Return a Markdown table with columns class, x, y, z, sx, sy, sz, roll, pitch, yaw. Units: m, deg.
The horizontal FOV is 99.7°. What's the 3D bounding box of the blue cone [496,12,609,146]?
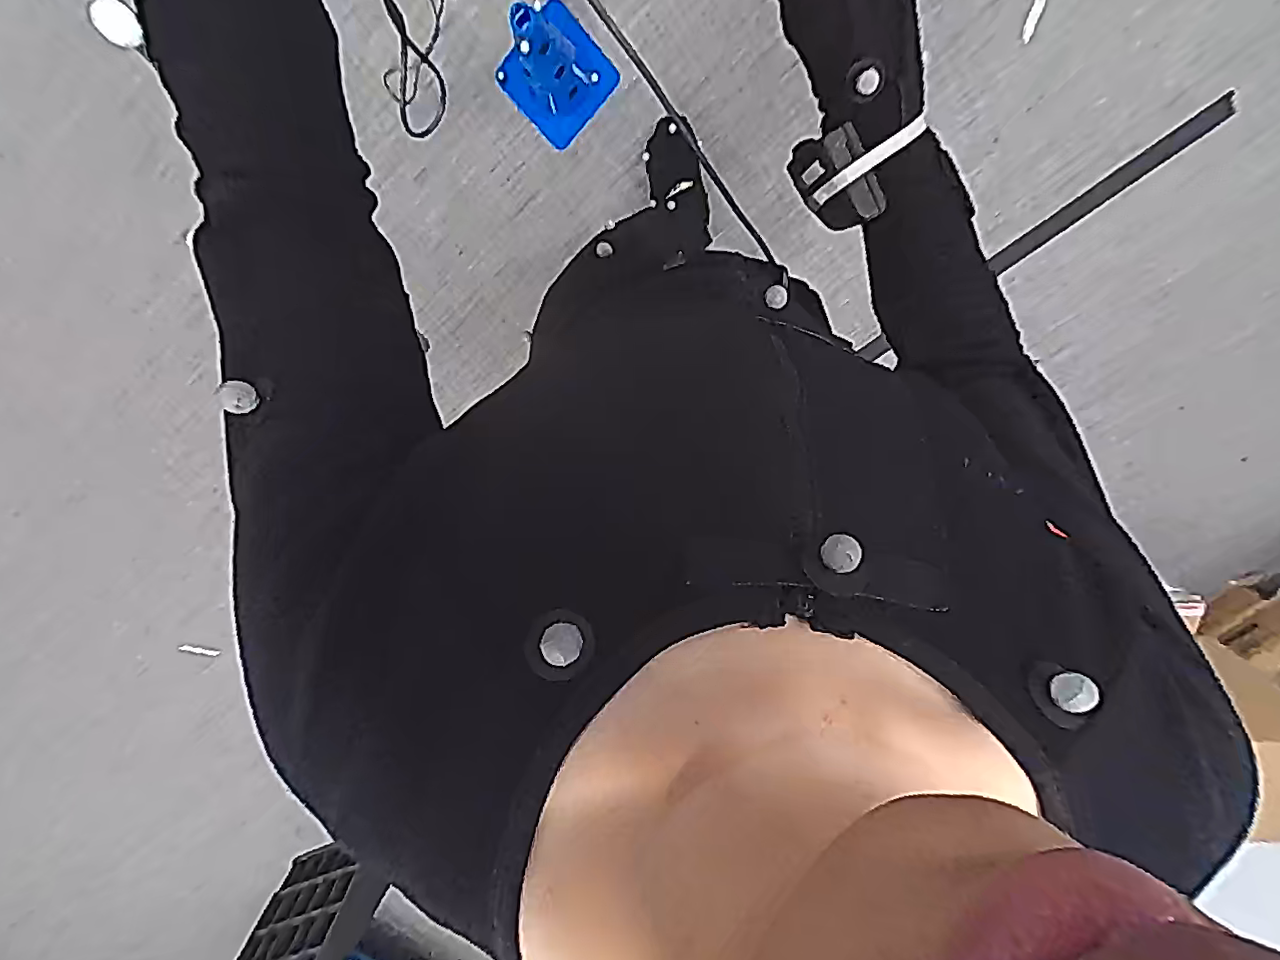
| class | x | y | z | sx | sy | sz | roll | pitch | yaw |
| --- | --- | --- | --- | --- | --- | --- | --- | --- | --- |
| blue cone | -0.186 | -0.771 | 0.991 | 0.192 | 0.380 | 0.193 | -40 | 108 | 18 |
